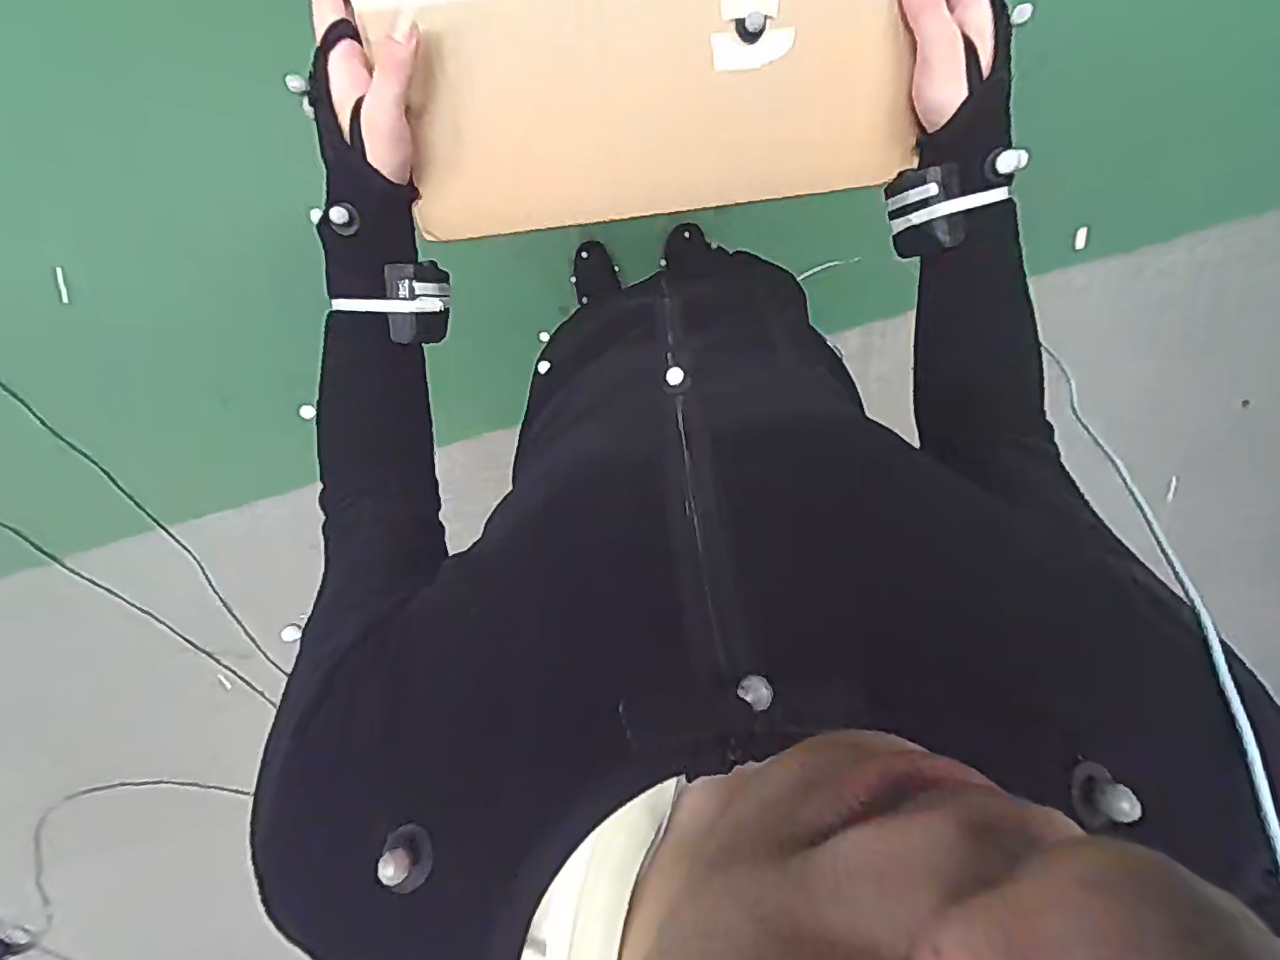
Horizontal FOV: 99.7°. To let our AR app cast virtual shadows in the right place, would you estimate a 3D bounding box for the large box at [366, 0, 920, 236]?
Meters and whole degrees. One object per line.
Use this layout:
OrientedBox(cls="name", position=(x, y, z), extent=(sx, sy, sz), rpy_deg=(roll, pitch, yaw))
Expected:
OrientedBox(cls="large box", position=(-0.008, -0.434, 0.502), extent=(0.408, 0.320, 0.320), rpy_deg=(-8, 121, -1))
